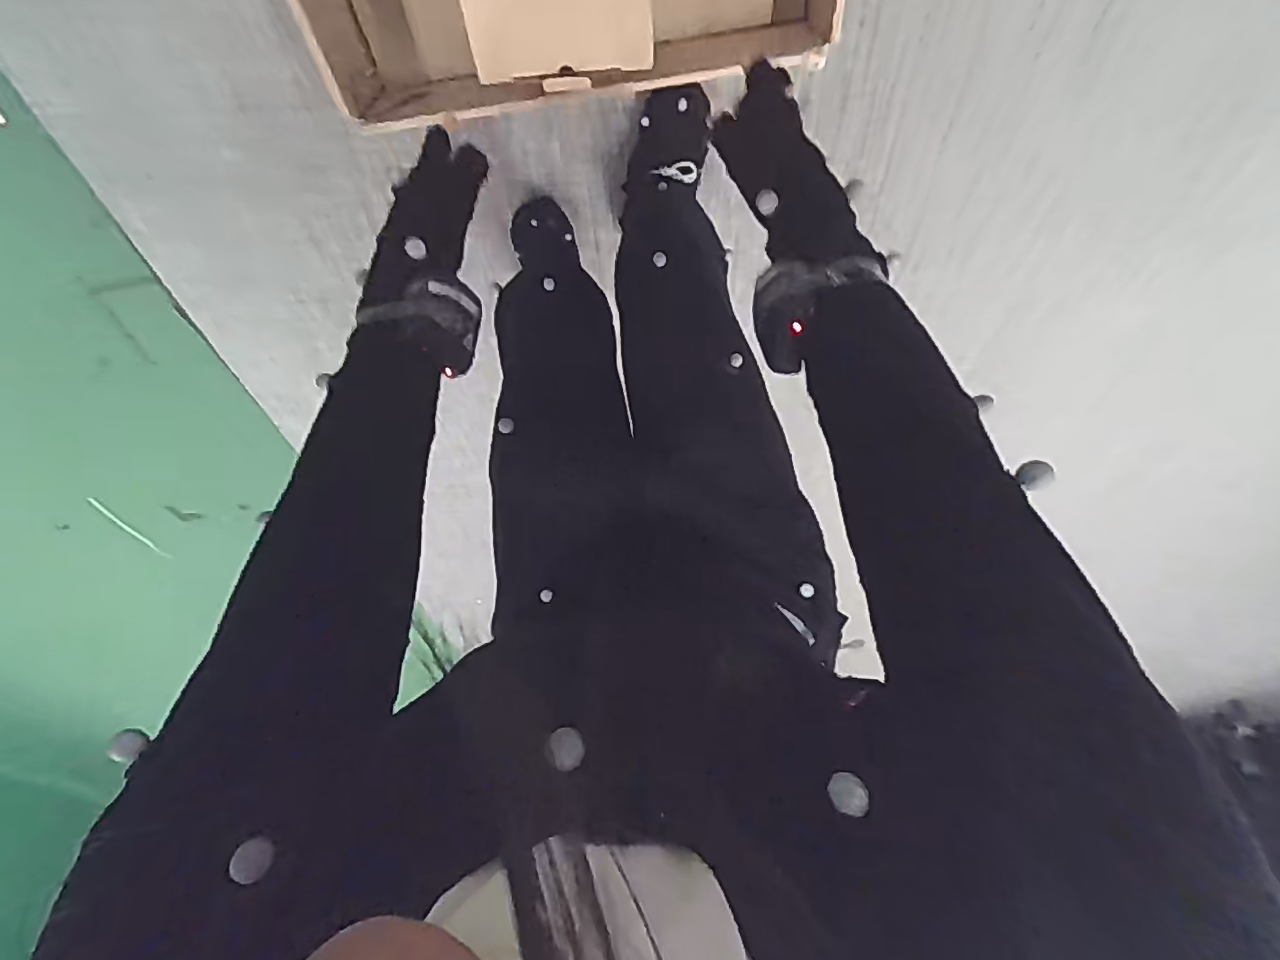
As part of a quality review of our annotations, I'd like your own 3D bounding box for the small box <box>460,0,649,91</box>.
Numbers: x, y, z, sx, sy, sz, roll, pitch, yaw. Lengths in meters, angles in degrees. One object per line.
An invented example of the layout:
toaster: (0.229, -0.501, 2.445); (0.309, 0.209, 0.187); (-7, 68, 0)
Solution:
small box: (-0.078, -0.491, 0.499); (0.168, 0.176, 0.179); (-4, 139, 1)
